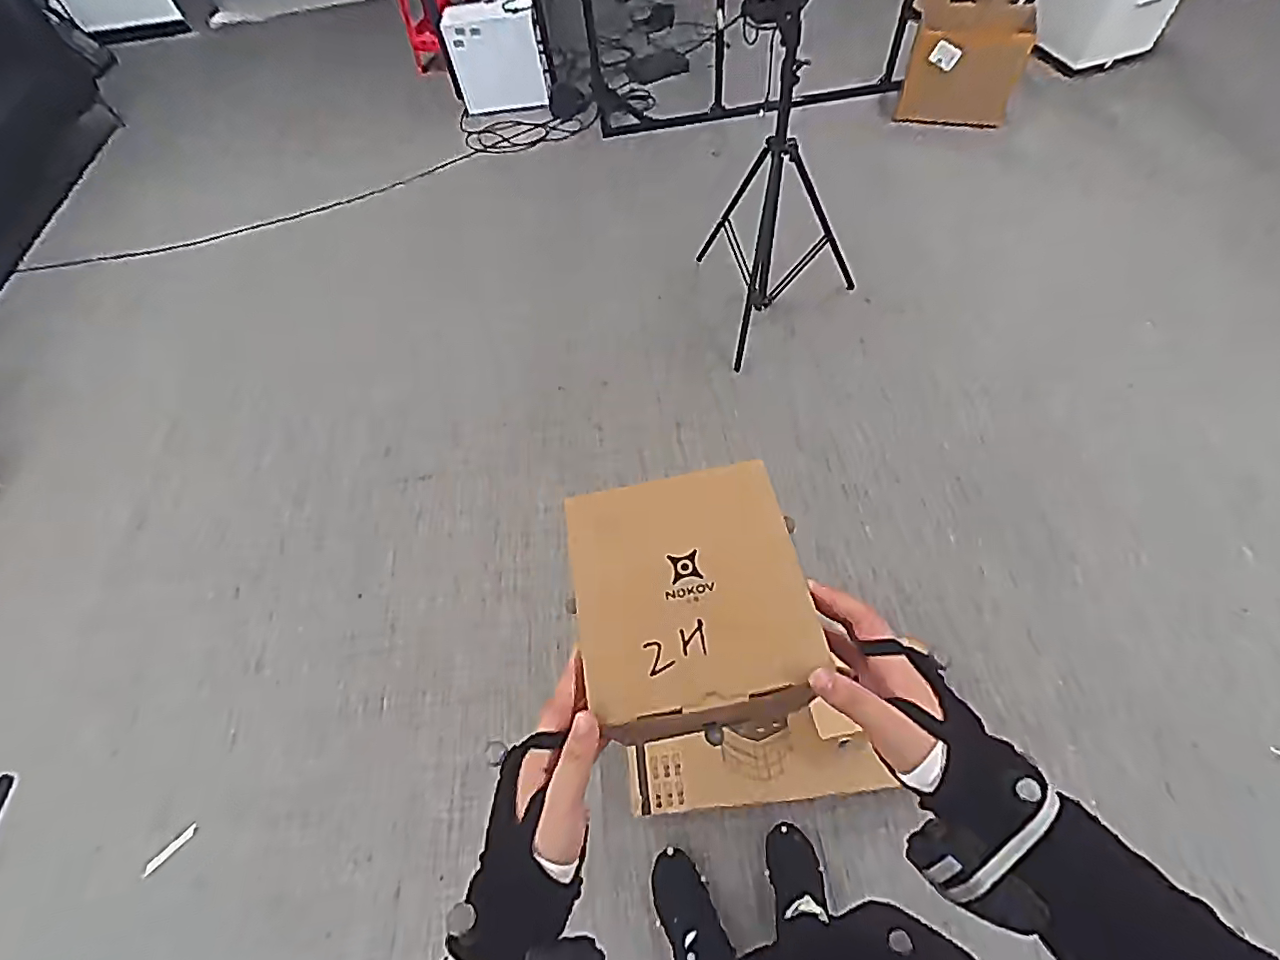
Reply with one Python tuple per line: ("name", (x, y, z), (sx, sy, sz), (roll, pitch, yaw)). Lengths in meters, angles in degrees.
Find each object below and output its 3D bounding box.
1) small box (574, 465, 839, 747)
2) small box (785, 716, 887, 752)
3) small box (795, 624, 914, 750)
("small box", (0.045, 0.114, 0.462), (0.168, 0.176, 0.179), (-11, 59, 1))
("small box", (0.399, 0.477, 1.160), (0.168, 0.176, 0.179), (-10, 59, 0))
("small box", (0.375, 0.394, 1.021), (0.168, 0.176, 0.179), (-12, 59, 0))
